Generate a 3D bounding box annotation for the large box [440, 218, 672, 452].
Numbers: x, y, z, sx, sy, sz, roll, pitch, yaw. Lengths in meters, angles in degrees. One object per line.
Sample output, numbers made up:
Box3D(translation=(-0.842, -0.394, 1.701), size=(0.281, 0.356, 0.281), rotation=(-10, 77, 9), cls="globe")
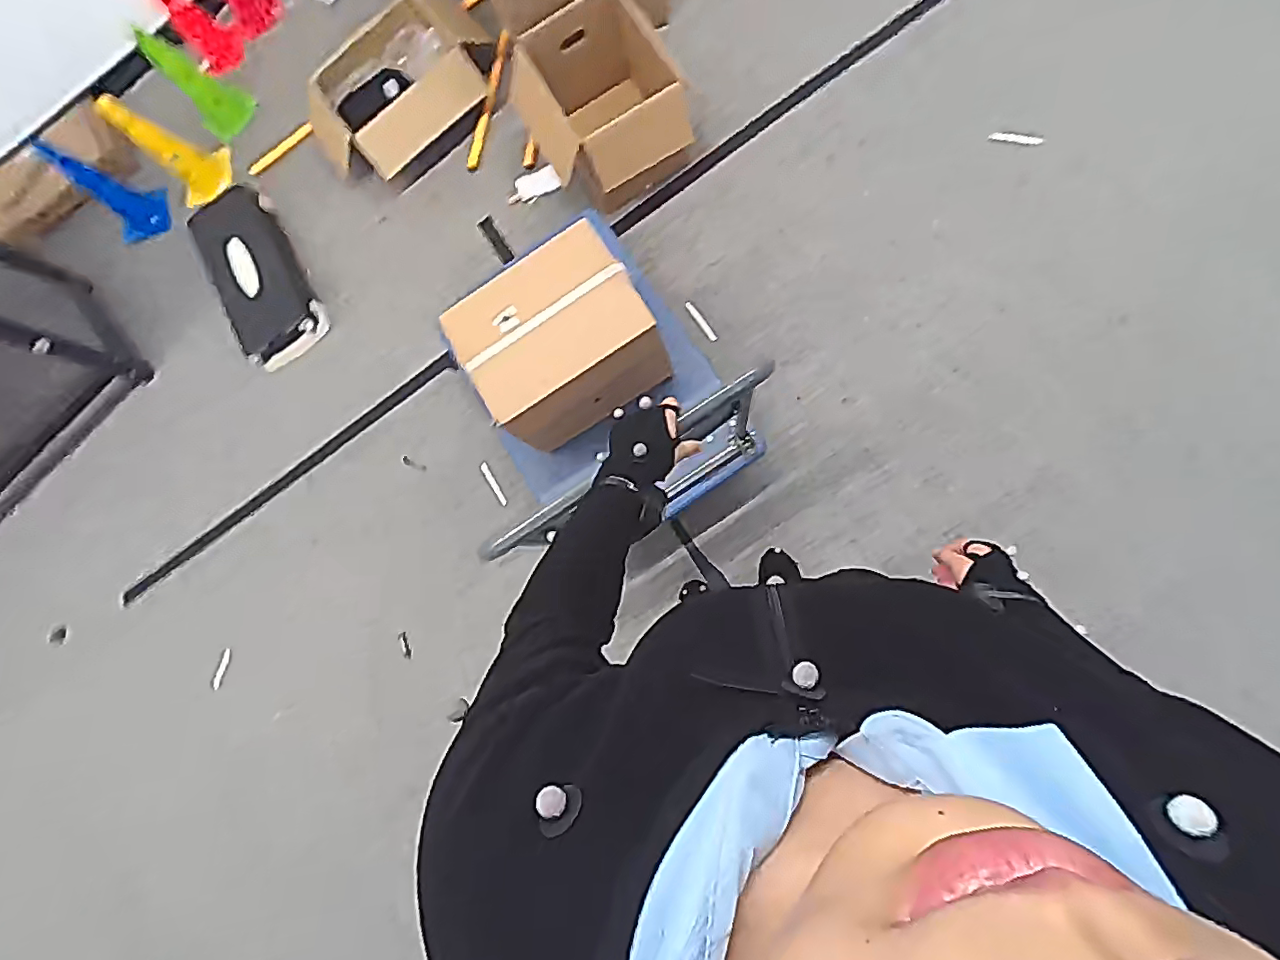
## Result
Box3D(translation=(-0.182, -0.323, 1.312), size=(0.408, 0.320, 0.320), rotation=(-33, 76, 5), cls="large box")
